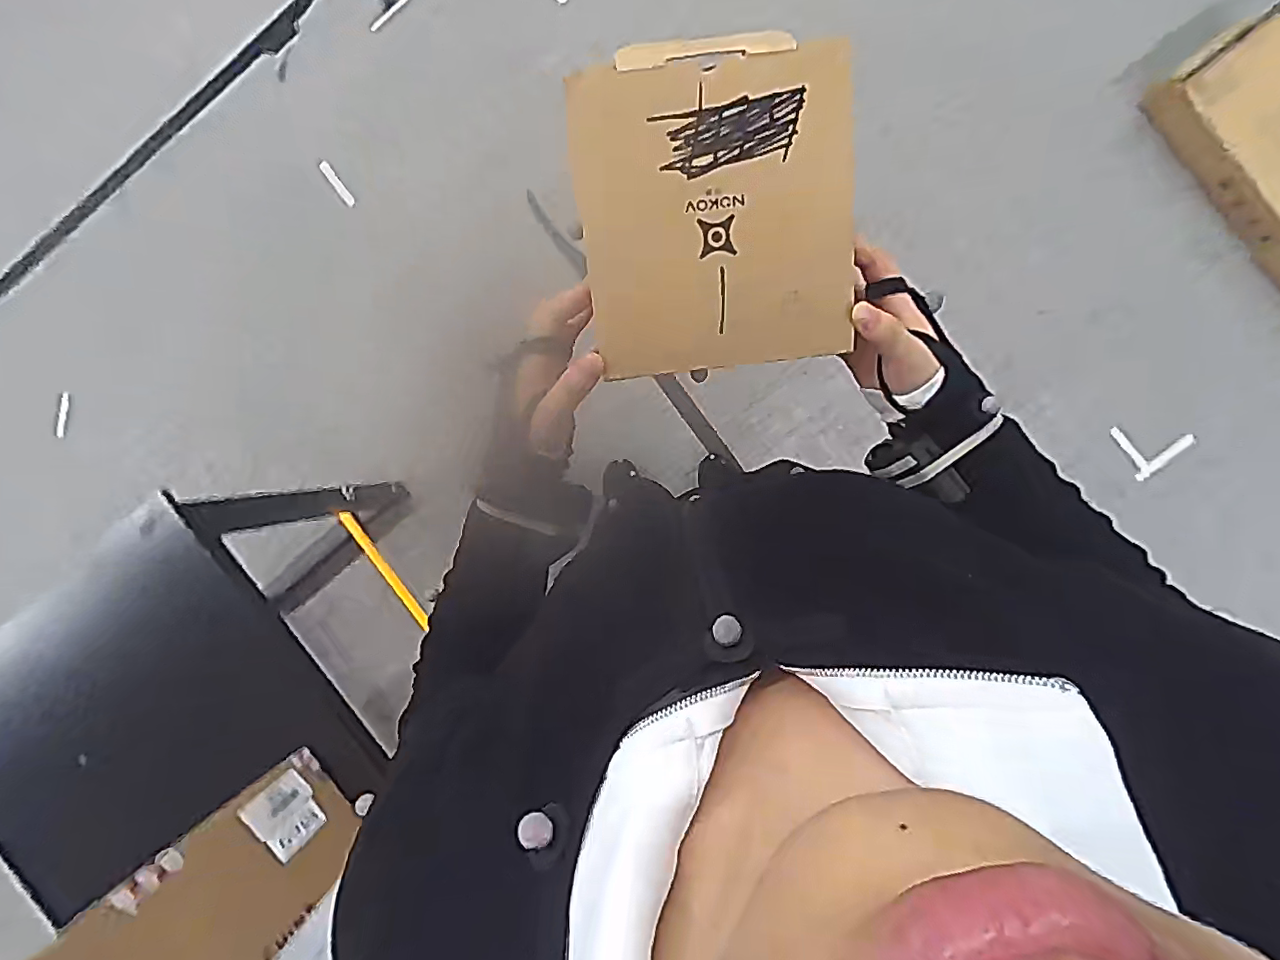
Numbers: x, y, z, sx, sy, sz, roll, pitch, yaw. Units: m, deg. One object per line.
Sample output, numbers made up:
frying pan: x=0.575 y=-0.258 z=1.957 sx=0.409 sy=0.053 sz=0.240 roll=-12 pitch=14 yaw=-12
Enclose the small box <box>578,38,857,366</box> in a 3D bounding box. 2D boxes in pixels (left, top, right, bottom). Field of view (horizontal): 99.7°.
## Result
small box: x=0.050 y=-0.184 z=0.409 sx=0.168 sy=0.176 sz=0.179 roll=-5 pitch=105 yaw=2
